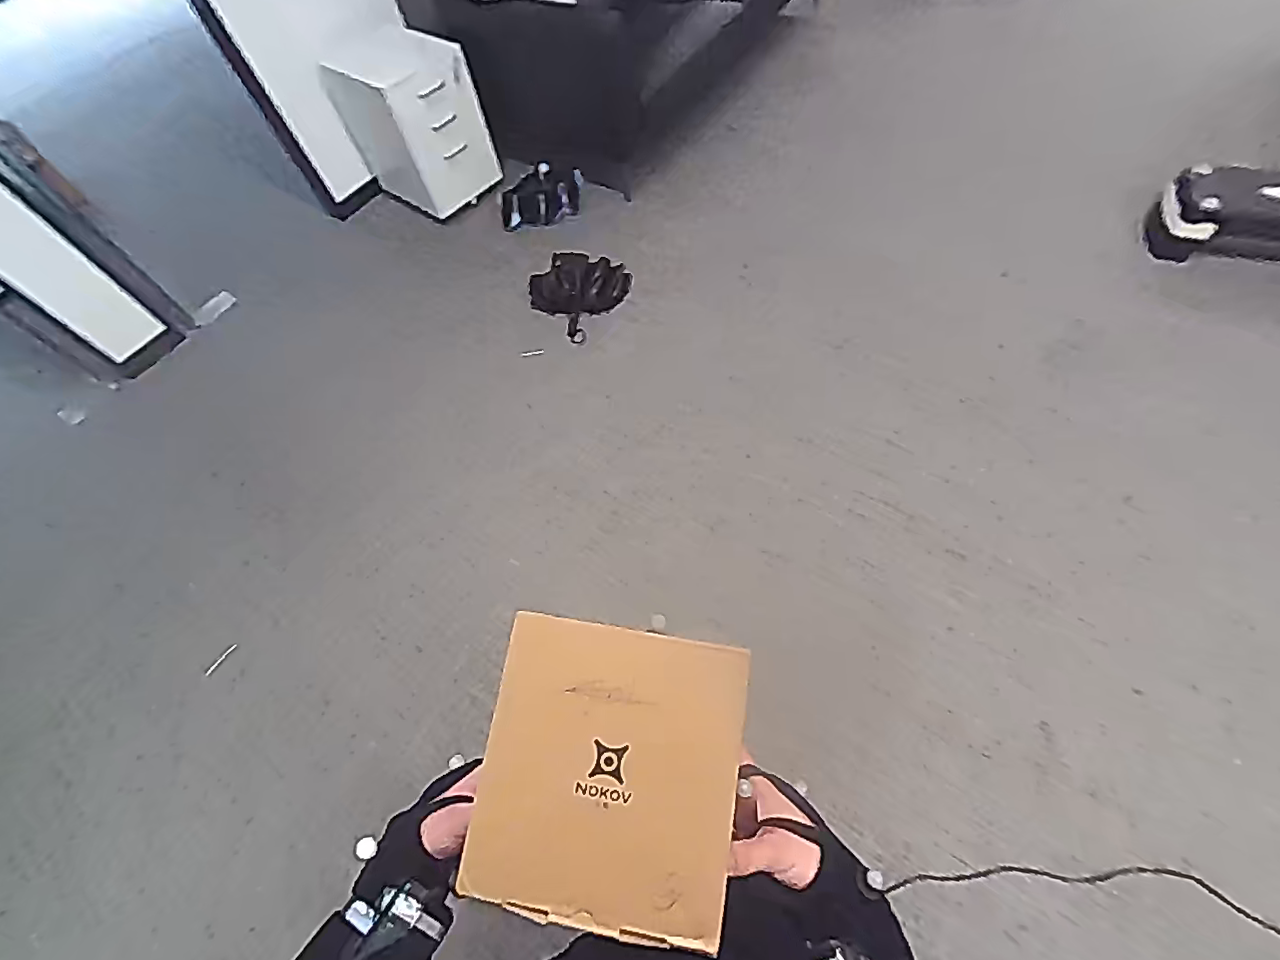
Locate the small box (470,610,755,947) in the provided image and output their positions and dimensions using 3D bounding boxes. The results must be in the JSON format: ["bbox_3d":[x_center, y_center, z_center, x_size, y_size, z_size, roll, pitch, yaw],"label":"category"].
[{"bbox_3d":[-0.009,0.211,0.432,0.168,0.176,0.179,8,73,6],"label":"small box"}]
